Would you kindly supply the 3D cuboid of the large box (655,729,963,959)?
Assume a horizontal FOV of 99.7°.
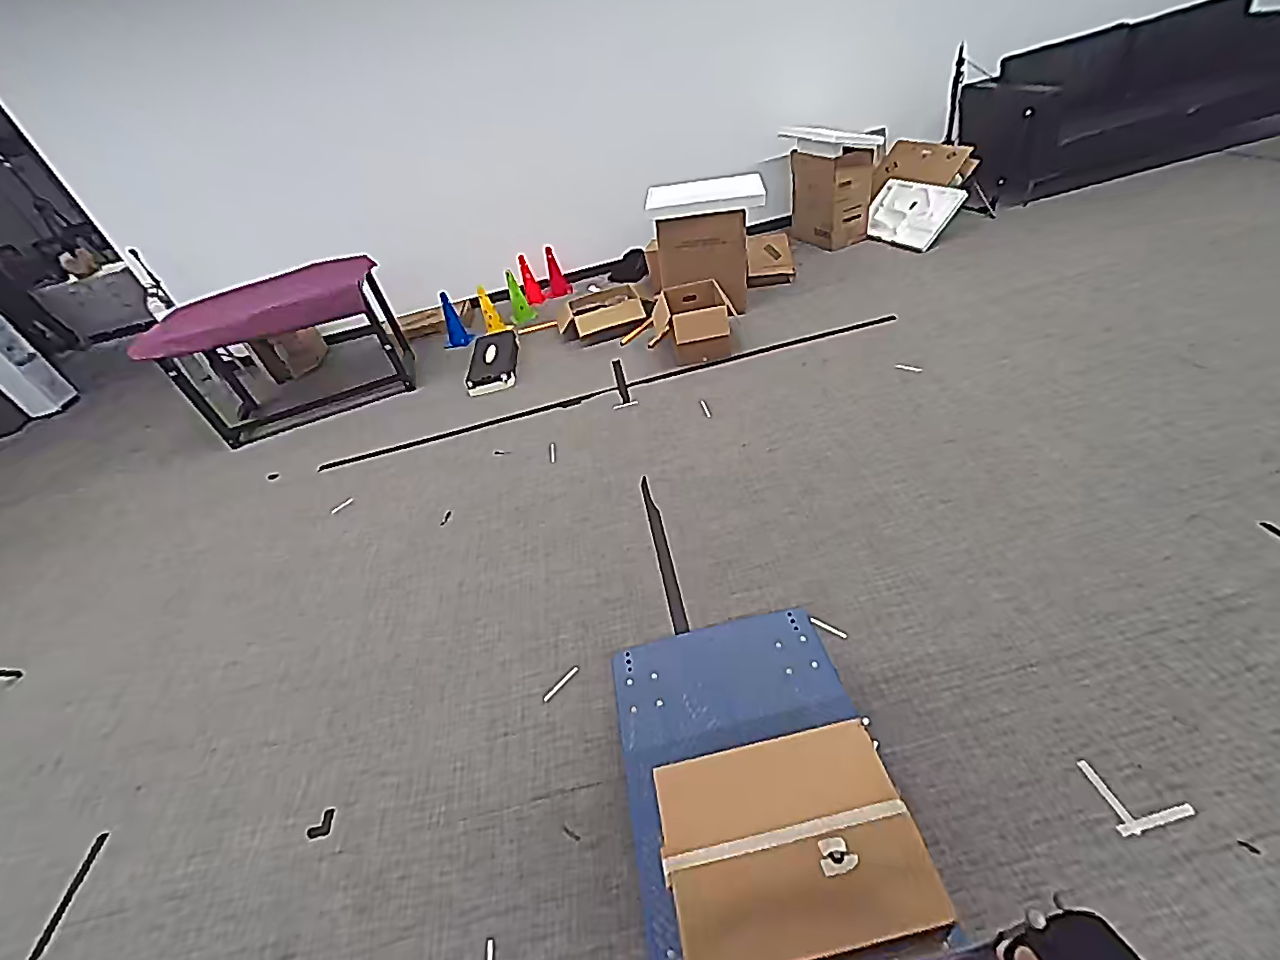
[{"bbox_3d":[0.268,0.710,0.965,0.408,0.320,0.320,-13,39,-1],"label":"large box"}]
